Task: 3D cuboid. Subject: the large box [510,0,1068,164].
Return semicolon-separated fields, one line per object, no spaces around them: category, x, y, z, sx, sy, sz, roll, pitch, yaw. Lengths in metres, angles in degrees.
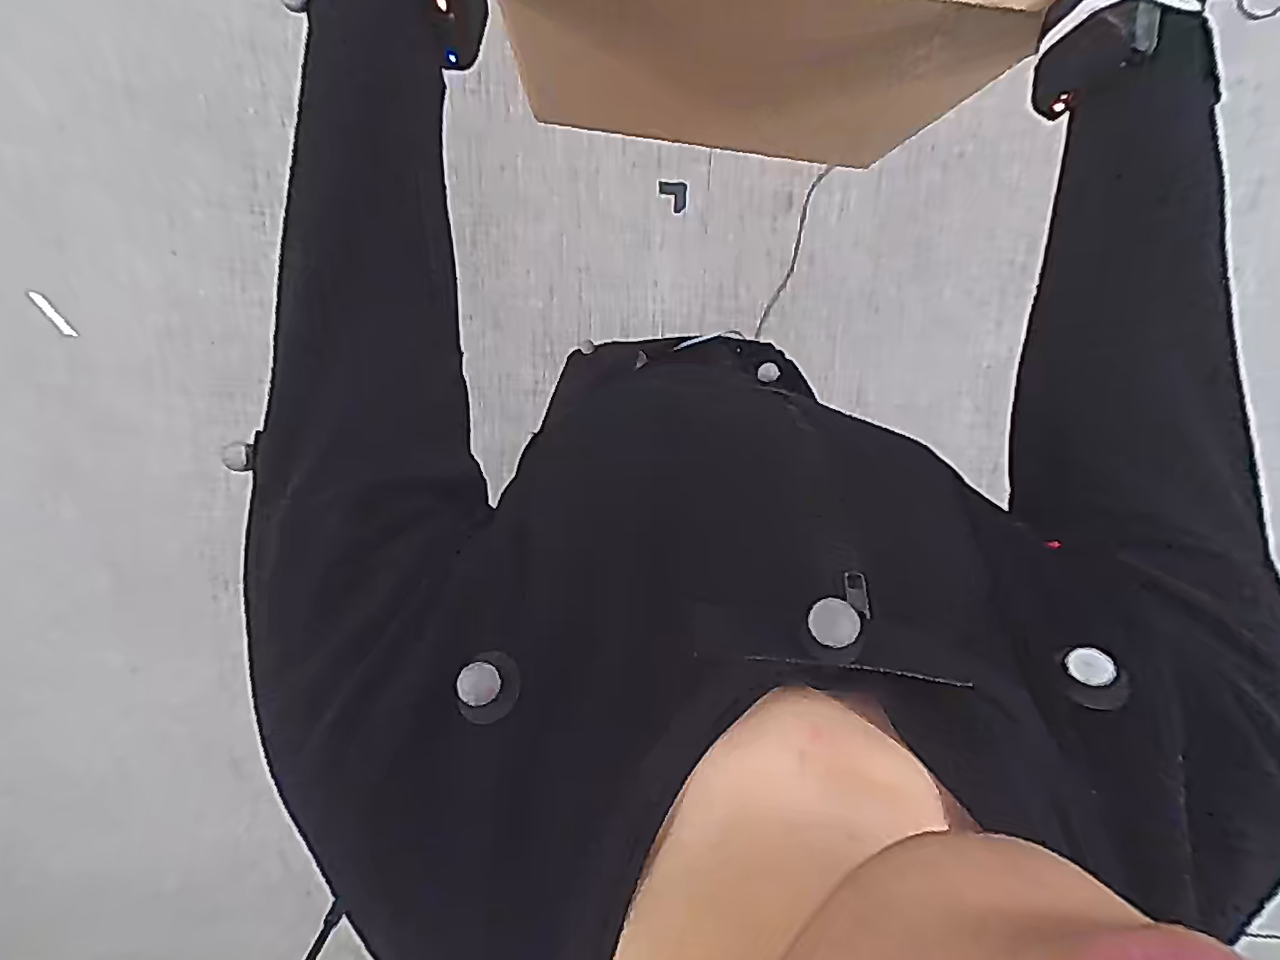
large box;0.101;-0.513;0.470;0.408;0.320;0.320;5;104;-6
